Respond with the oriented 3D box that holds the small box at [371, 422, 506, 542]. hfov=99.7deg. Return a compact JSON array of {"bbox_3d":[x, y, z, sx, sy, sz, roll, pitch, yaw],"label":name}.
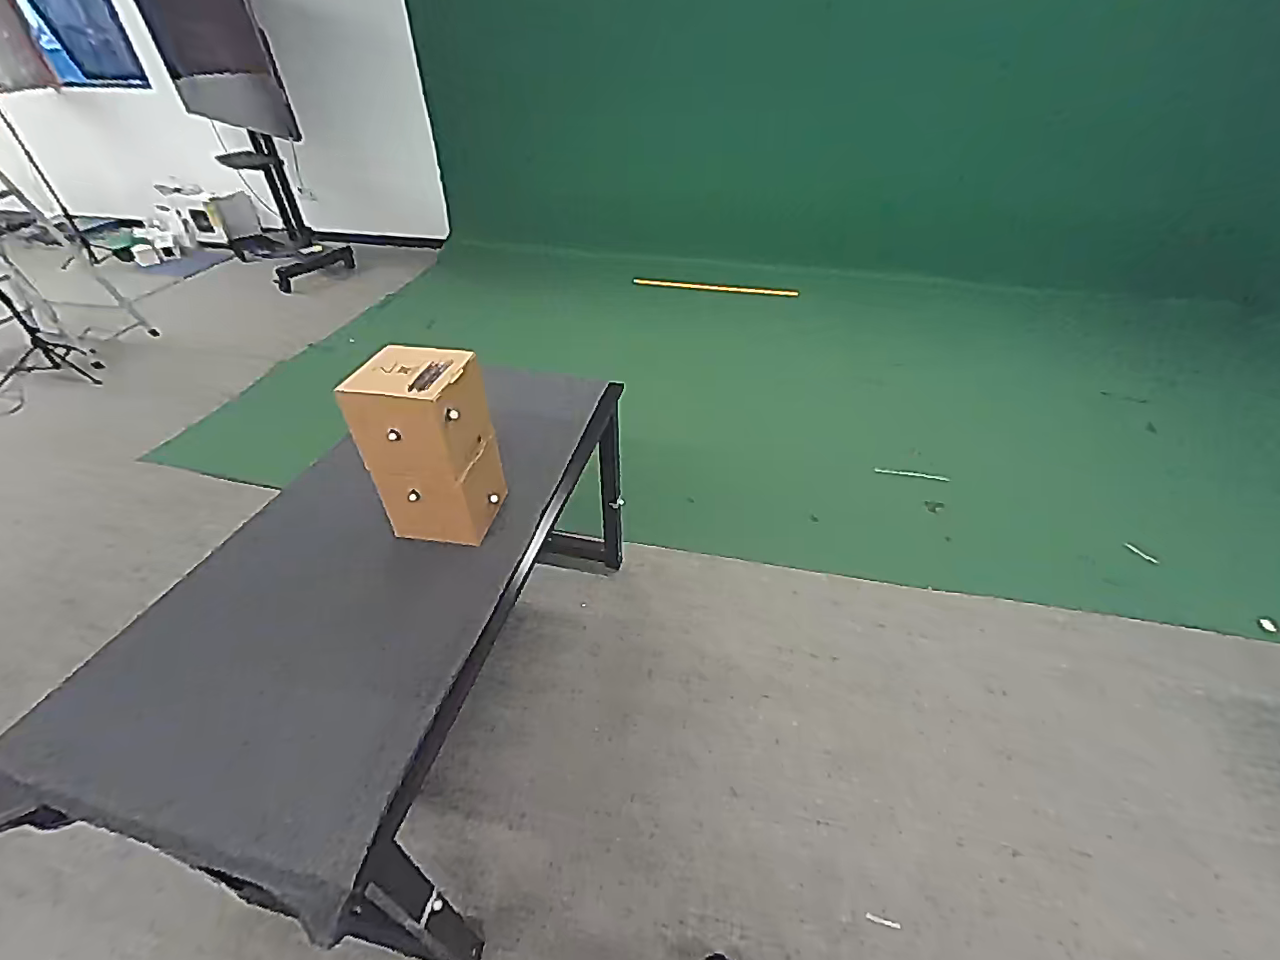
[{"bbox_3d":[-0.382,0.005,1.060,0.179,0.176,0.168,6,40,7],"label":"small box"}]
